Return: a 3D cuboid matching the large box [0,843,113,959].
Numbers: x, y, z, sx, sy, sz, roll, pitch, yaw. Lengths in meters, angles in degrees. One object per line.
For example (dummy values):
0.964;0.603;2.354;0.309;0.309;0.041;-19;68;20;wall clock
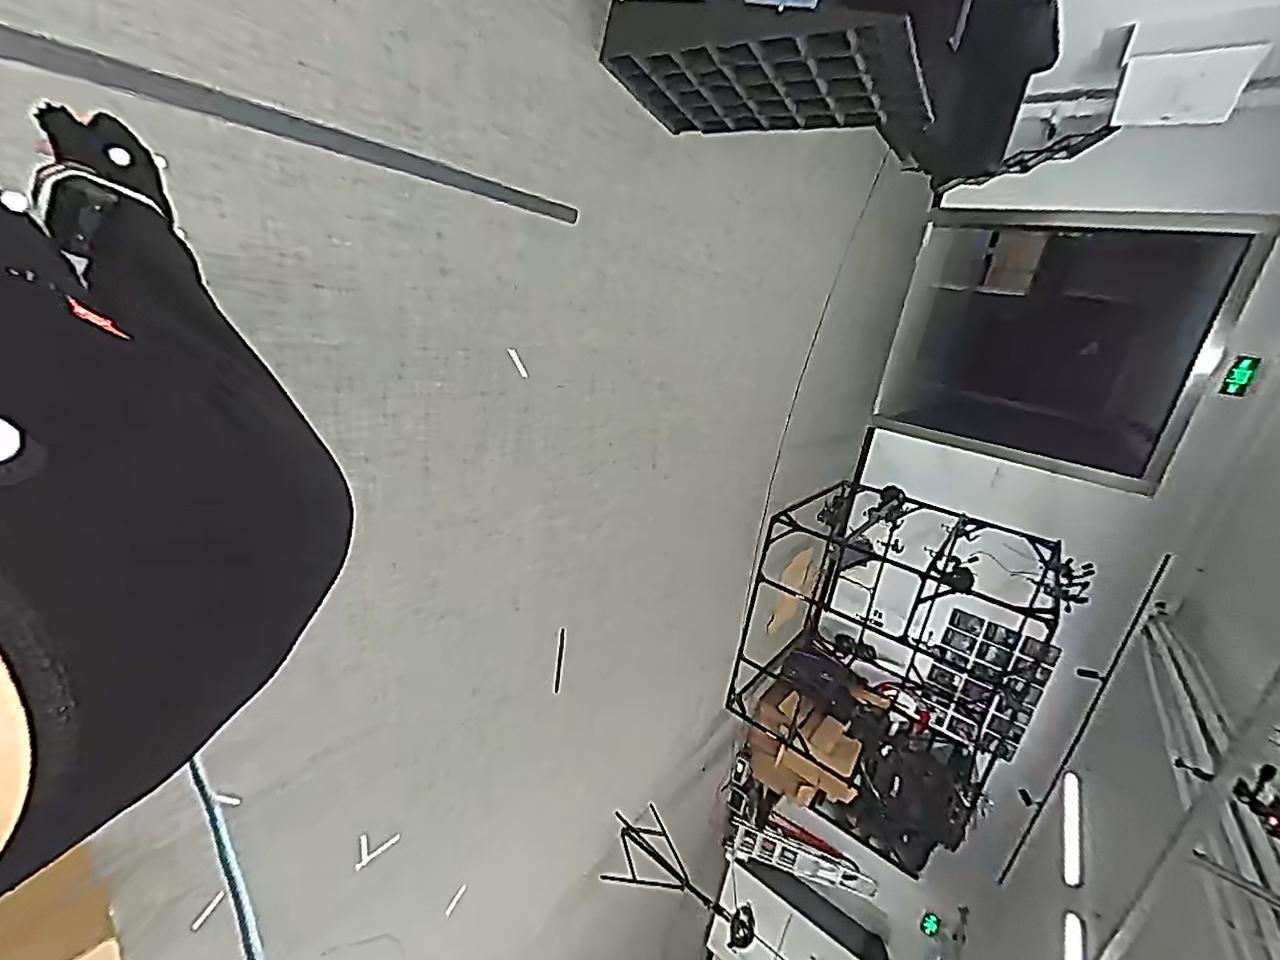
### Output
-1.388;1.085;1.117;0.408;0.320;0.320;-14;119;-51;large box
